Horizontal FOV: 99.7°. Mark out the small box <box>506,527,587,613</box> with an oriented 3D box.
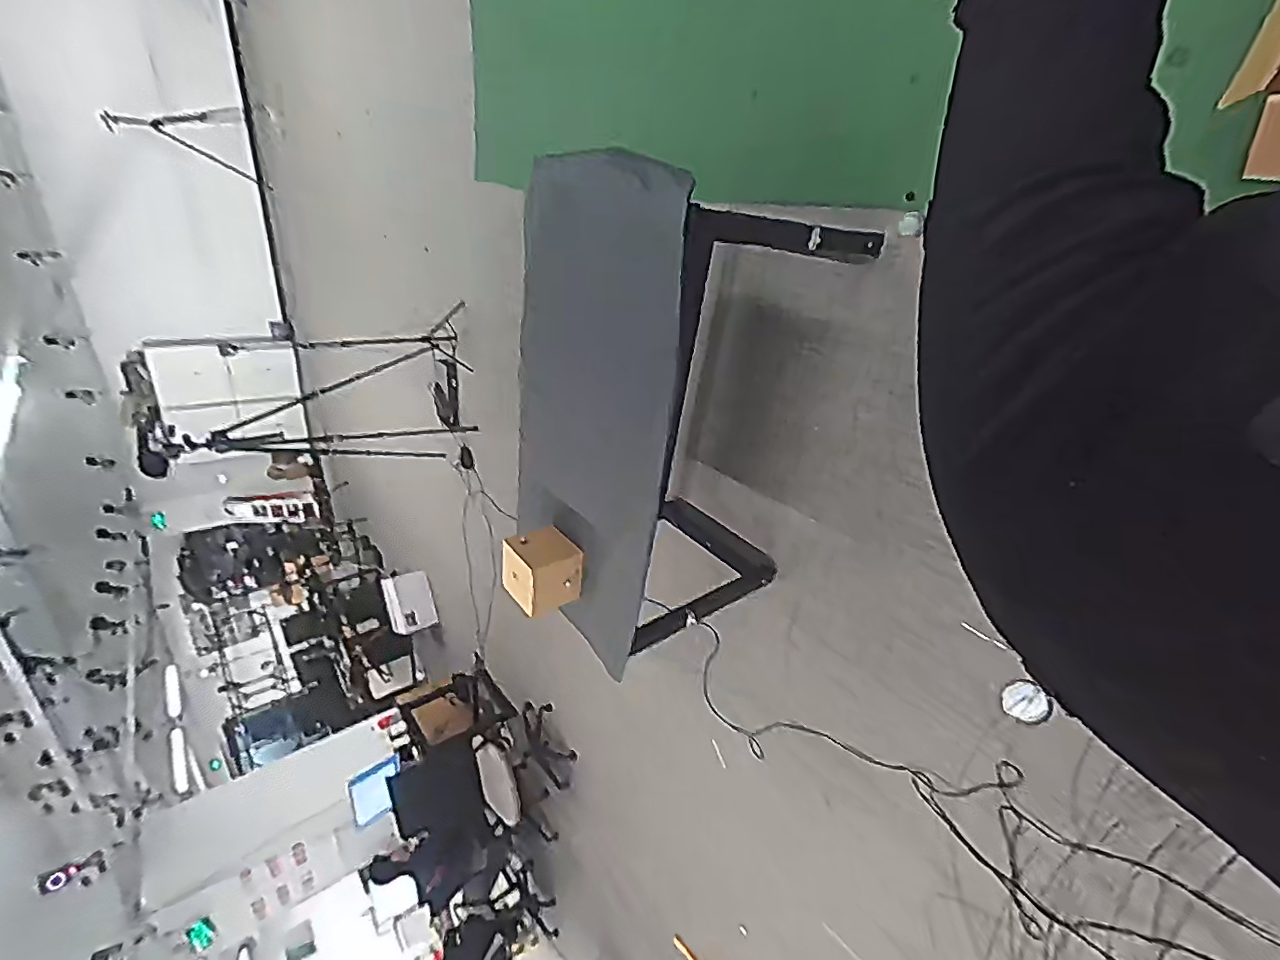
[{"bbox_3d":[-0.276,0.251,1.578,0.179,0.176,0.168,33,126,41],"label":"small box"}]
